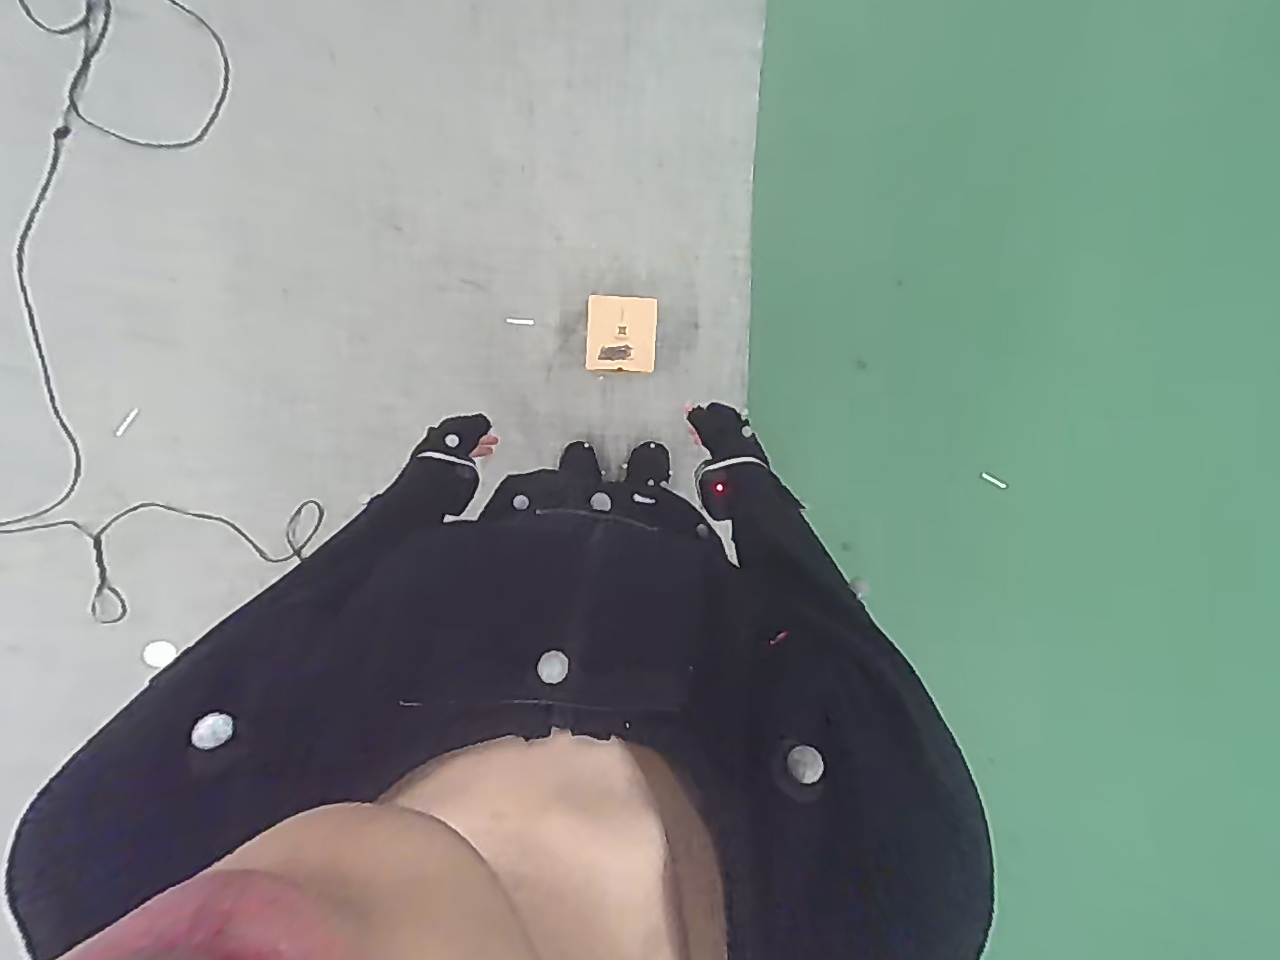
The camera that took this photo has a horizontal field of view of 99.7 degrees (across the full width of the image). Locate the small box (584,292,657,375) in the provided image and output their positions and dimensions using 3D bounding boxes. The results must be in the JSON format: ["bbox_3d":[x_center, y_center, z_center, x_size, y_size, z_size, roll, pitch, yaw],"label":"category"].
[{"bbox_3d":[-0.047,-0.359,1.355,0.168,0.176,0.179,3,96,-1],"label":"small box"}]
